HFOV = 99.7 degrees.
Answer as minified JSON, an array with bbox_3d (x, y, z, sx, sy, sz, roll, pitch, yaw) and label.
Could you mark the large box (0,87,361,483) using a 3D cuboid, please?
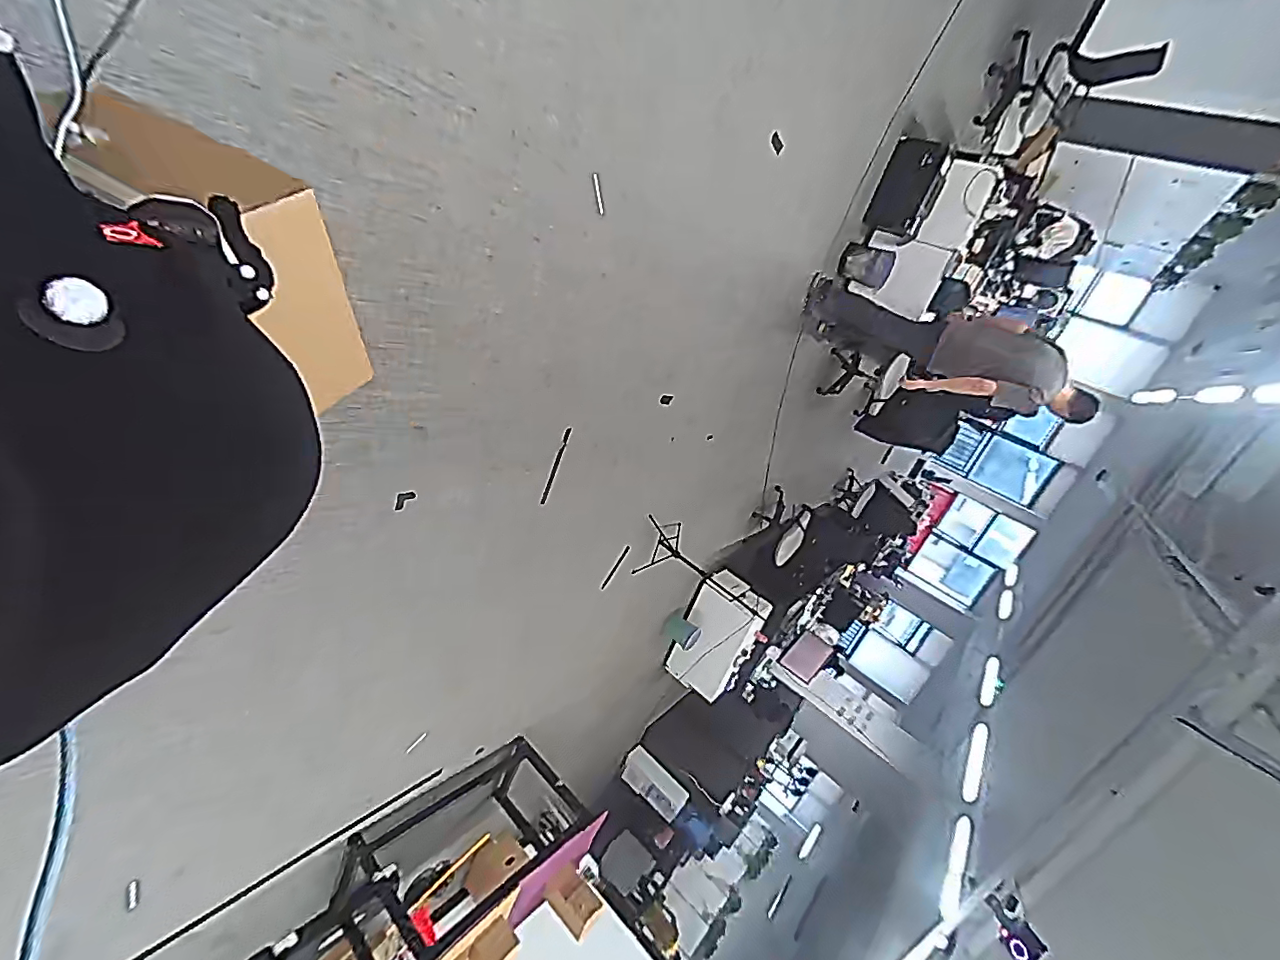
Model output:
[{"bbox_3d":[-0.684,-0.265,0.740,0.320,0.408,0.320,-53,165,-36],"label":"large box"}]
